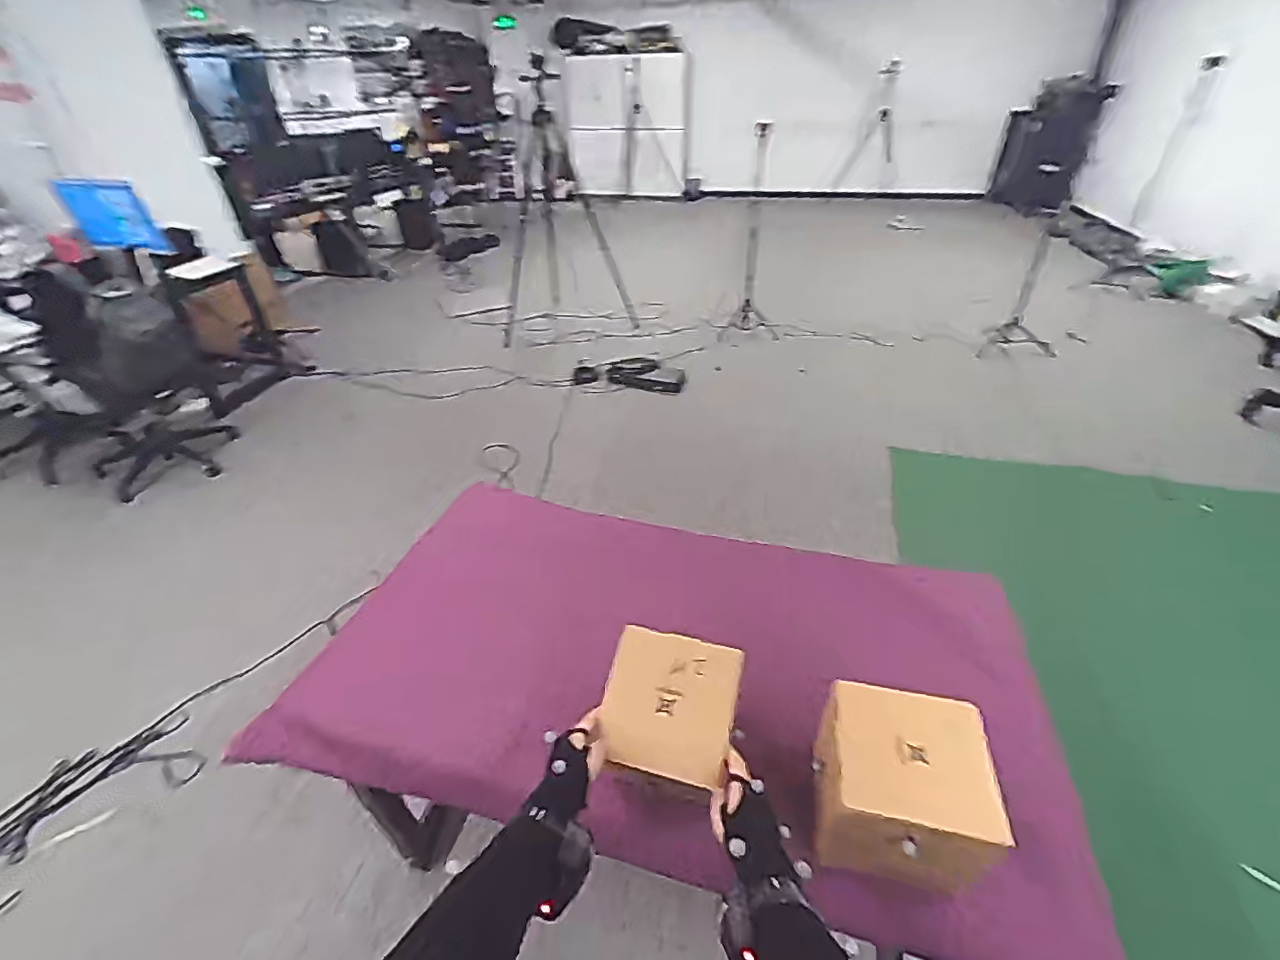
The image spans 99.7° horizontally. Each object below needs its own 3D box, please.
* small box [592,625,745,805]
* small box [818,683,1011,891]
[{"bbox_3d":[0.050,0.334,0.762,0.168,0.176,0.179,10,54,15],"label":"small box"},{"bbox_3d":[0.335,0.396,0.700,0.179,0.176,0.168,6,38,13],"label":"small box"}]
